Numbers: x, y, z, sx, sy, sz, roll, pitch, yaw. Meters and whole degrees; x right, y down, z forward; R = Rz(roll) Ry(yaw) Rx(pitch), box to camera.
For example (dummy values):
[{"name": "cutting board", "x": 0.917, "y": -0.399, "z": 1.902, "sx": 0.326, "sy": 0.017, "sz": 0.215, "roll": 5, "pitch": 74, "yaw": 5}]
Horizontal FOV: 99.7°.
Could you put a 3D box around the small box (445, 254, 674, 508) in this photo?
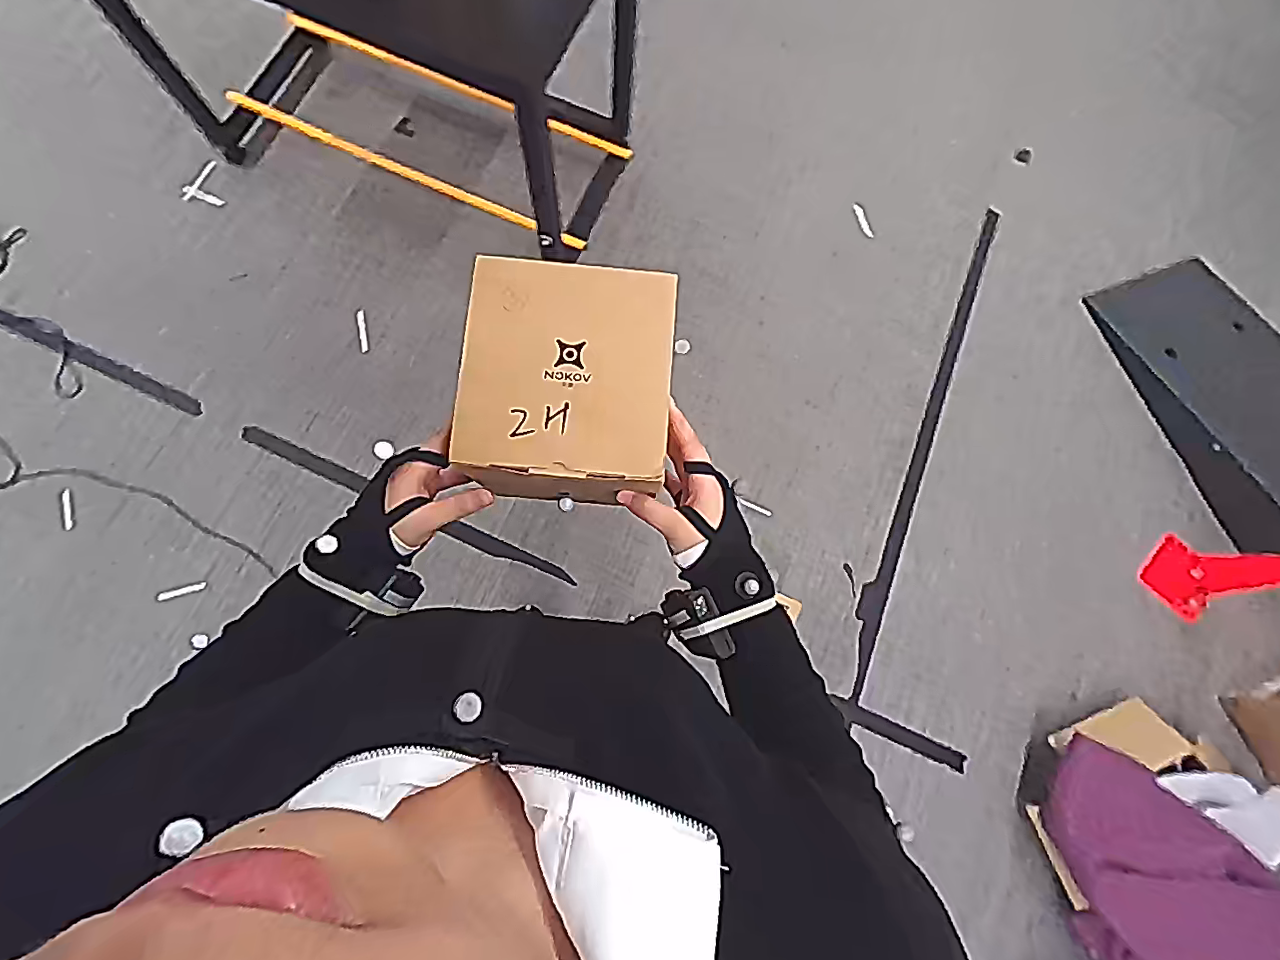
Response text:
[{"name": "small box", "x": -0.064, "y": -0.077, "z": 0.501, "sx": 0.168, "sy": 0.176, "sz": 0.179, "roll": 4, "pitch": 80, "yaw": -2}]

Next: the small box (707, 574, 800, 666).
[{"name": "small box", "x": 0.291, "y": 0.366, "z": 1.435, "sx": 0.168, "sy": 0.176, "sz": 0.179, "roll": 27, "pitch": 77, "yaw": 3}]
